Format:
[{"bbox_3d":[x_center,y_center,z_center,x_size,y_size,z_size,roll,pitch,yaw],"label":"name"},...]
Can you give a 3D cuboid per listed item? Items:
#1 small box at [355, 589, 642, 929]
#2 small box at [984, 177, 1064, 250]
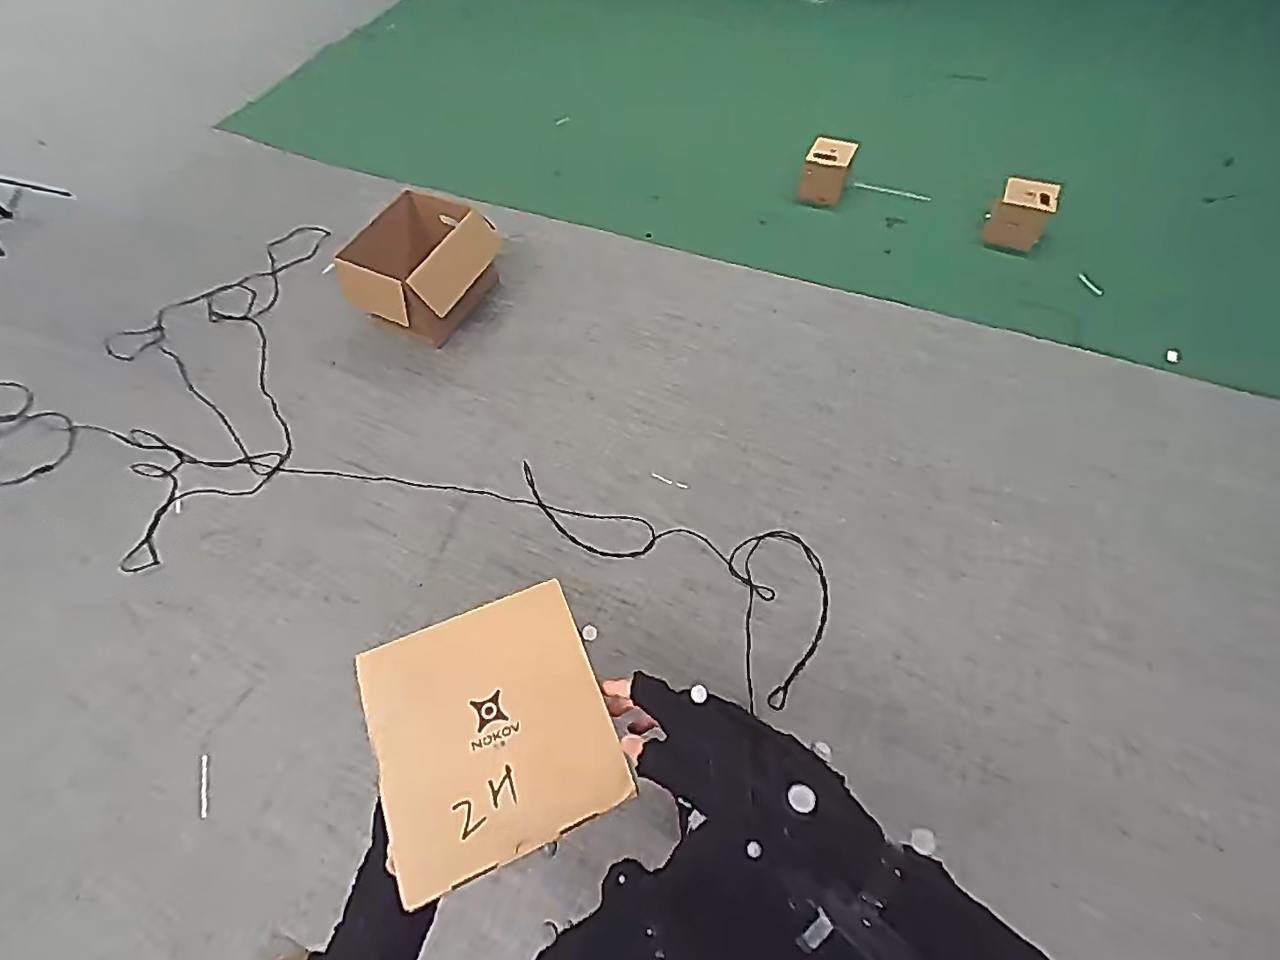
[{"bbox_3d":[-0.111,0.221,0.456,0.168,0.176,0.179,-20,66,-13],"label":"small box"},{"bbox_3d":[1.423,-0.986,2.009,0.179,0.176,0.168,22,64,16],"label":"small box"}]
